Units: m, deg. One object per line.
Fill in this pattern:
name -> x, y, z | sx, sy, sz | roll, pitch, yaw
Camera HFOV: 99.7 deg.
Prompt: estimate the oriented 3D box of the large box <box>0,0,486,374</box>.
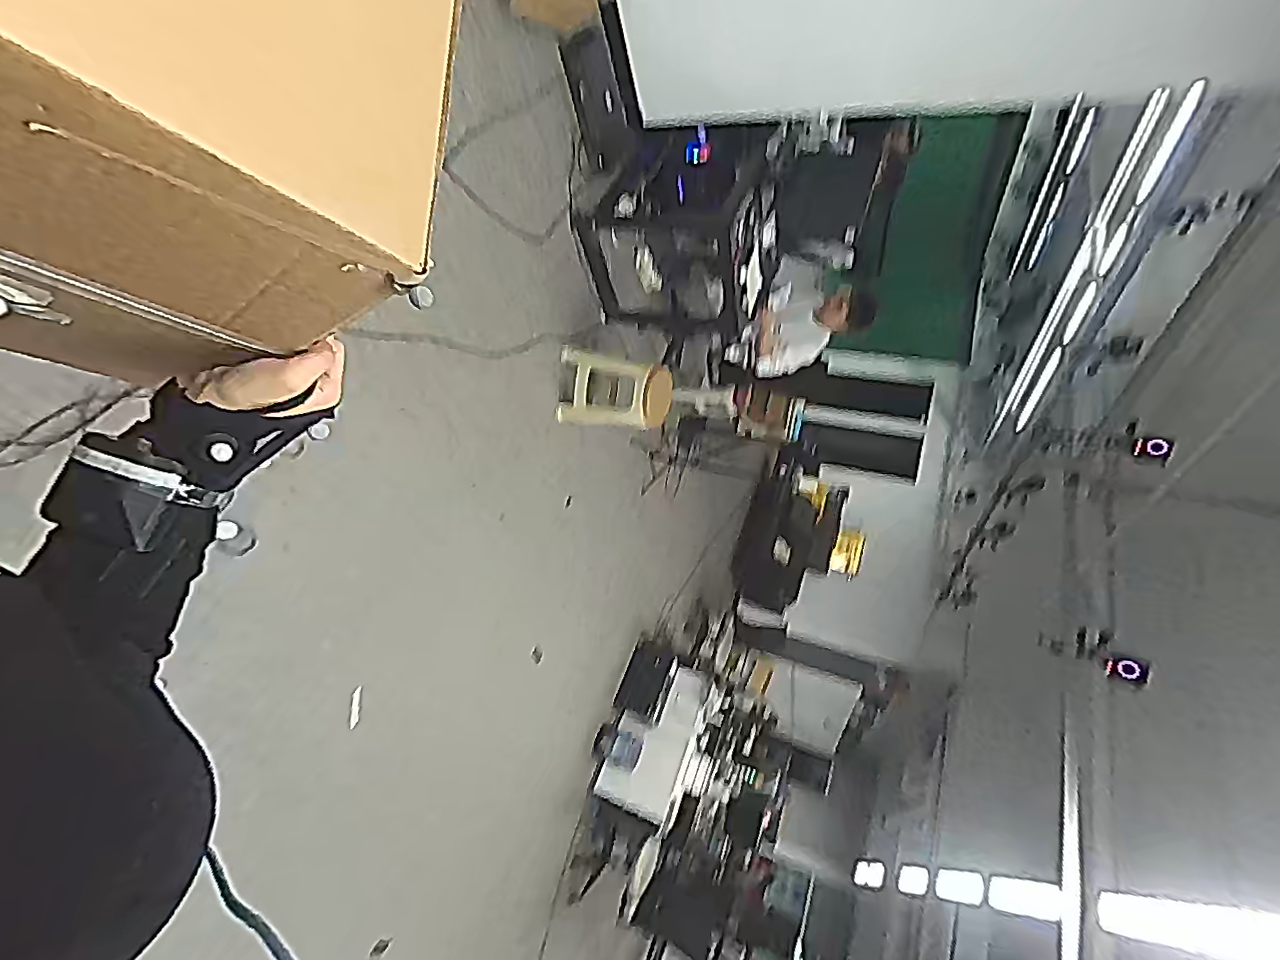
large box -> -0.328, -0.290, 0.250 | 0.408, 0.320, 0.320 | 16, 71, -52
